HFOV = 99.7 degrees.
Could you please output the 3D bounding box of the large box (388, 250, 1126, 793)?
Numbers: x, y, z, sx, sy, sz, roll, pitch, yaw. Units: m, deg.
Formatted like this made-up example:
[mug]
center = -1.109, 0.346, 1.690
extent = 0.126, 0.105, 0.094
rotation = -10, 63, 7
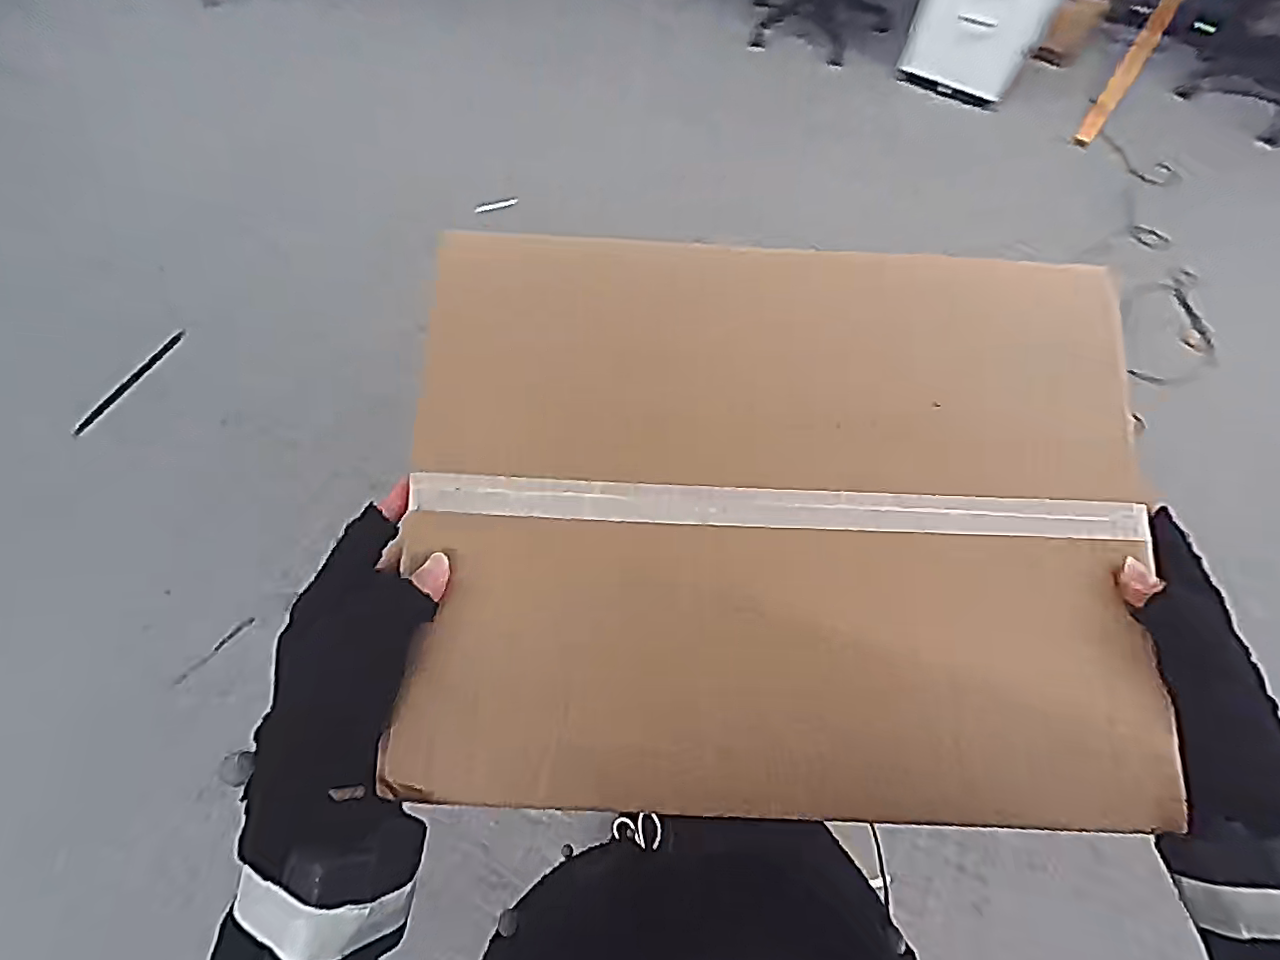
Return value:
[large box]
center = 0.066, 0.037, 0.458
extent = 0.408, 0.320, 0.320
rotation = 2, 79, -1
